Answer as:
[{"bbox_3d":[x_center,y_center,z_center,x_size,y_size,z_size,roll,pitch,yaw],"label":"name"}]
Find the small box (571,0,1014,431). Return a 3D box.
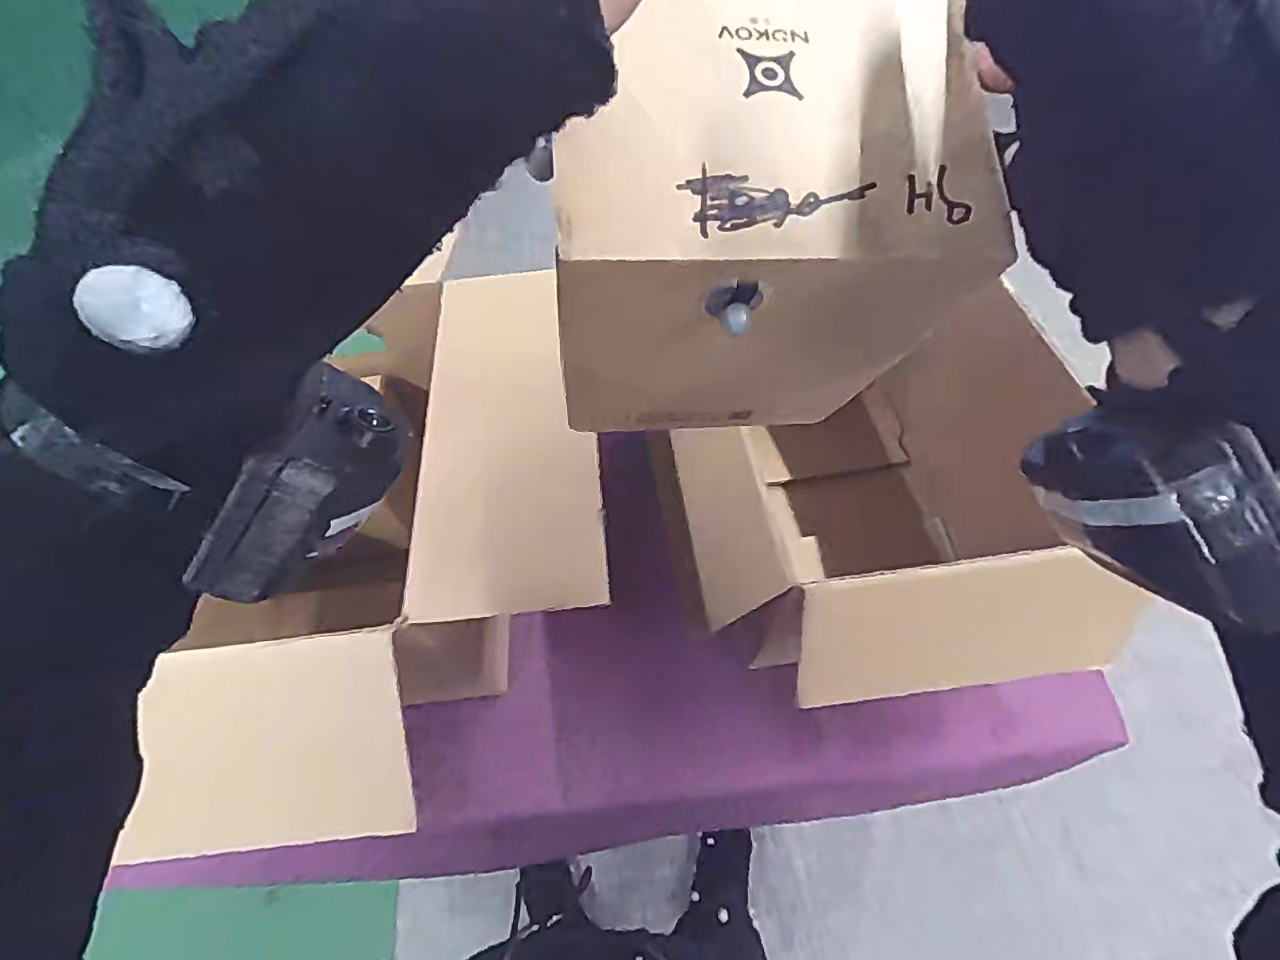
[{"bbox_3d":[0.047,-0.139,0.294,0.168,0.176,0.179,-3,75,-6],"label":"small box"}]
